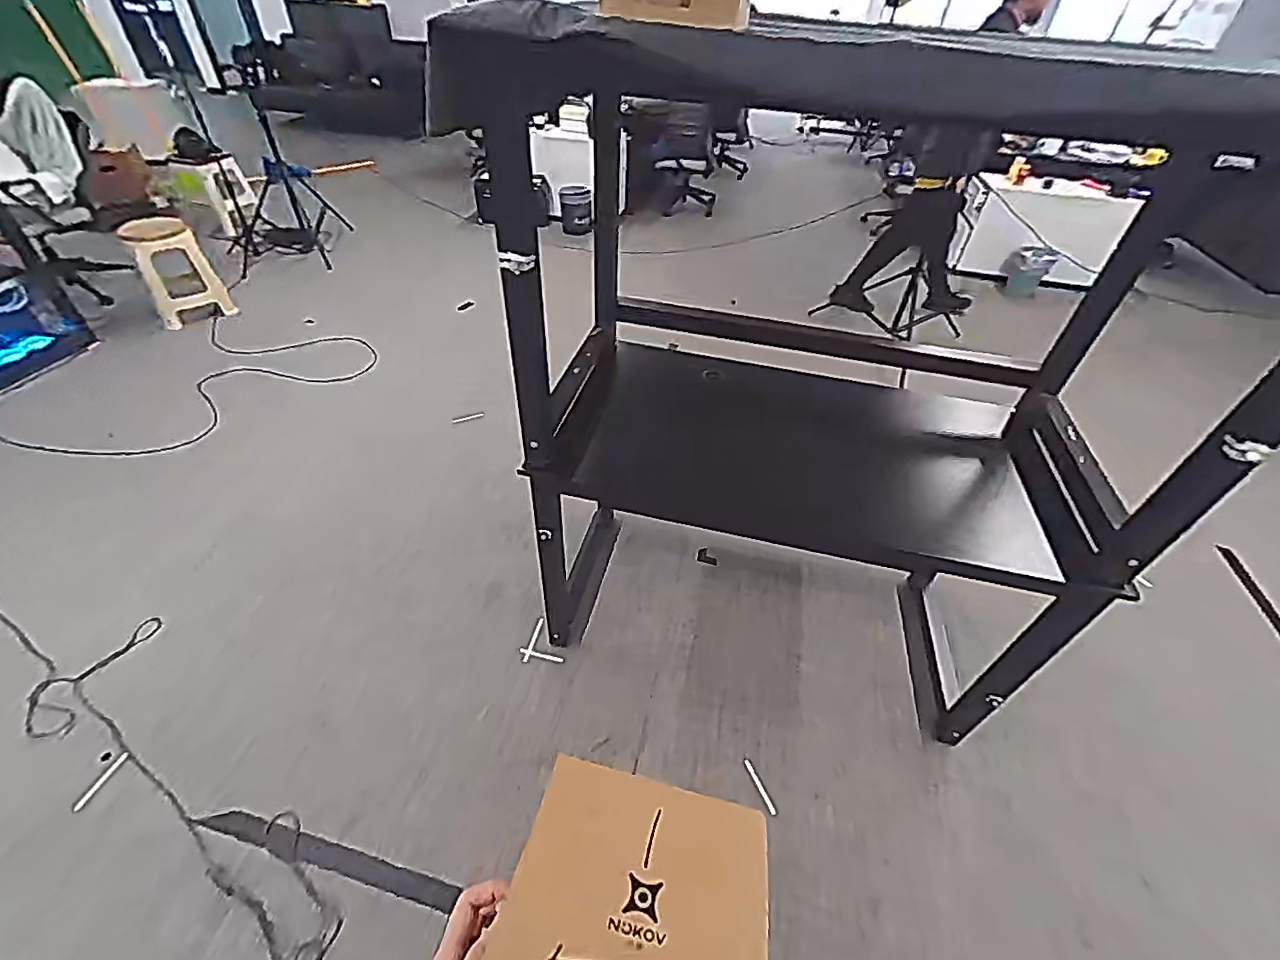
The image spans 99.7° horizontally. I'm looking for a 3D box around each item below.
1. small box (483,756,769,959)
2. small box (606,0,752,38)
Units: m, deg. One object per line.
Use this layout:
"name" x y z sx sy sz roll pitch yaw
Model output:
"small box" -0.011 0.340 0.375 0.168 0.176 0.179 13 28 6
"small box" 0.056 -0.642 0.645 0.168 0.176 0.179 12 41 7
